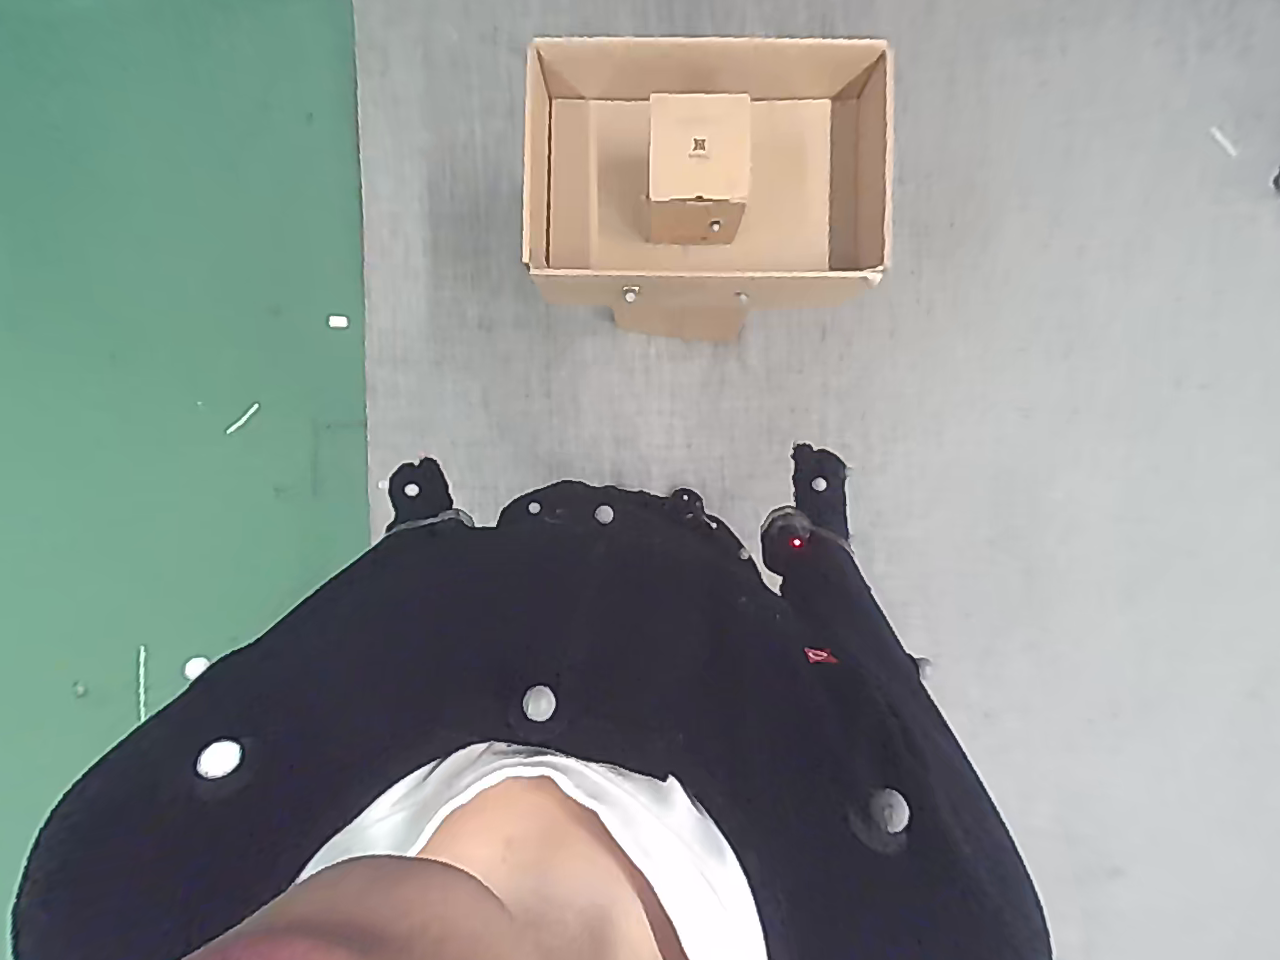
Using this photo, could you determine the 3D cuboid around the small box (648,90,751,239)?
[{"bbox_3d":[0.100,-0.549,0.961,0.168,0.176,0.179,0,88,0],"label":"small box"}]
